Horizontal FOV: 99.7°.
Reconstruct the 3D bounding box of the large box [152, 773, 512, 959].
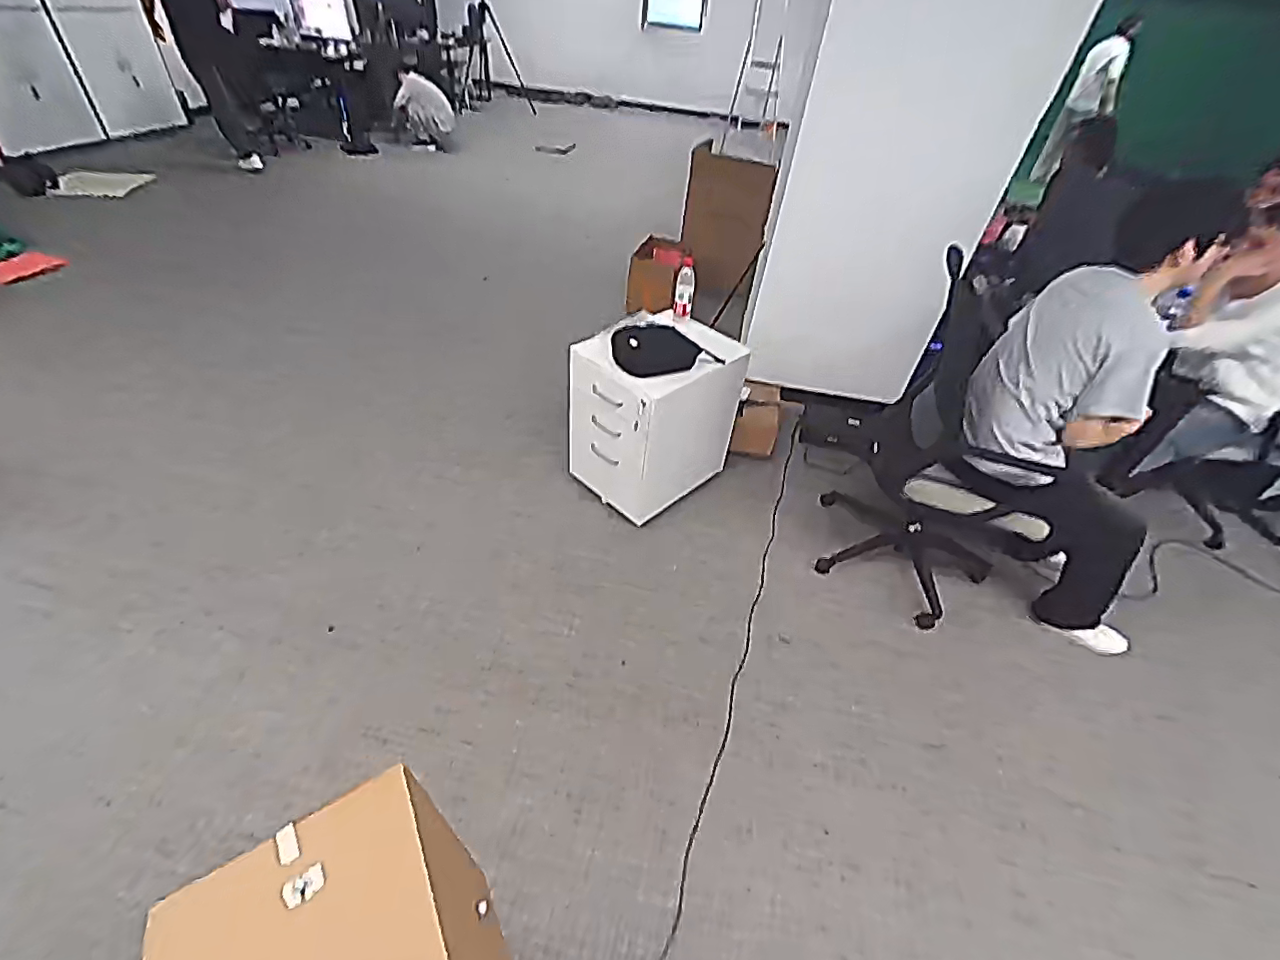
[{"bbox_3d":[-0.367,0.692,0.724,0.320,0.408,0.320,-24,38,-19],"label":"large box"}]
